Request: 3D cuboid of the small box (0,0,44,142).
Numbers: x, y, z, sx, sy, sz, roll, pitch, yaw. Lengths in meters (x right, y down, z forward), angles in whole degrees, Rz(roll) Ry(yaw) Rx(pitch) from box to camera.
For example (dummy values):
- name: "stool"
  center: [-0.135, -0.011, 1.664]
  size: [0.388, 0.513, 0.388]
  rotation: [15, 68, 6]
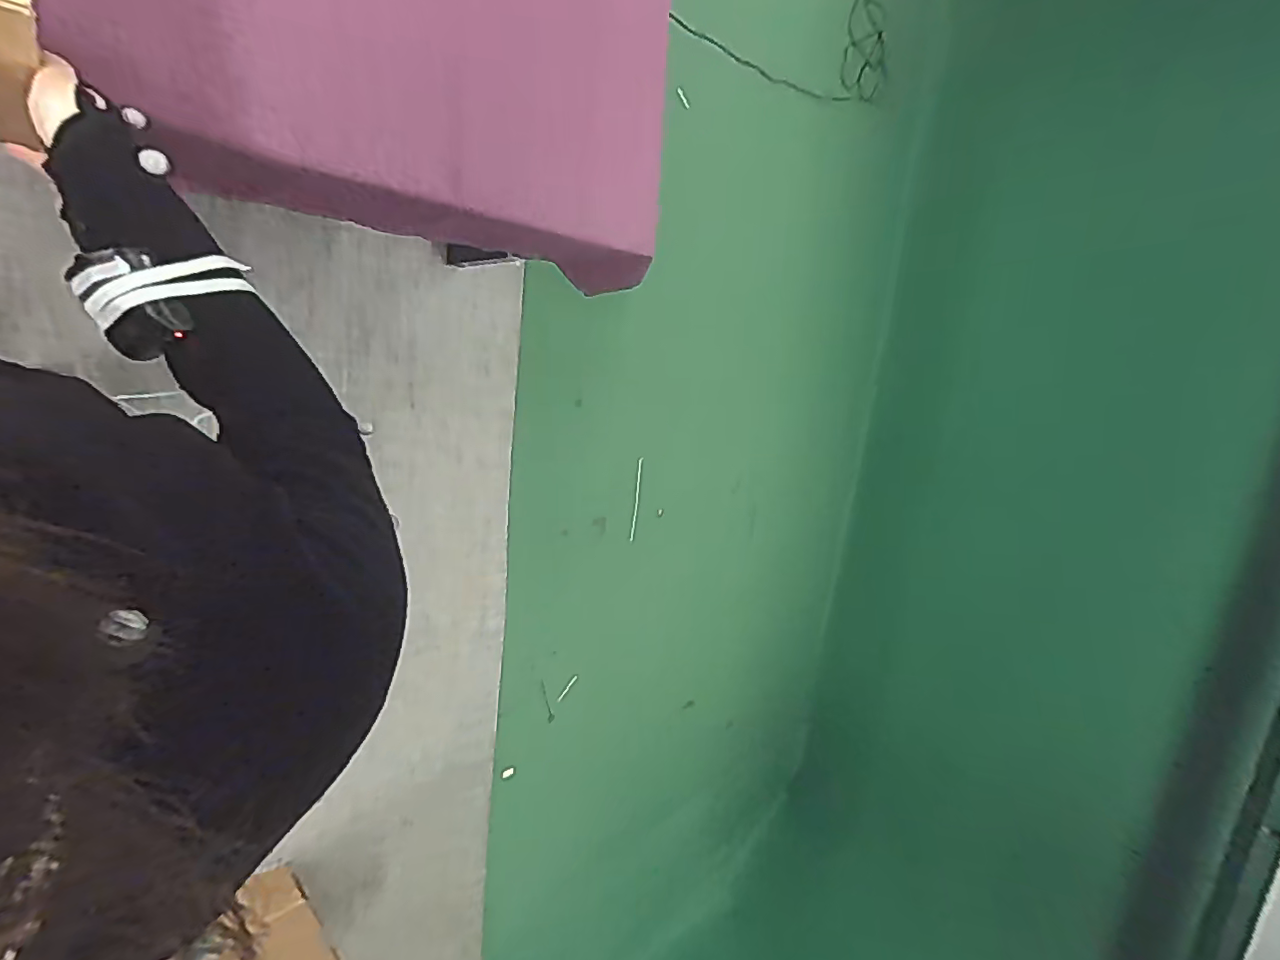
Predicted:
- name: "small box"
  center: [-0.480, -0.338, 0.310]
  size: [0.168, 0.176, 0.179]
  rotation: [-11, 93, -46]
